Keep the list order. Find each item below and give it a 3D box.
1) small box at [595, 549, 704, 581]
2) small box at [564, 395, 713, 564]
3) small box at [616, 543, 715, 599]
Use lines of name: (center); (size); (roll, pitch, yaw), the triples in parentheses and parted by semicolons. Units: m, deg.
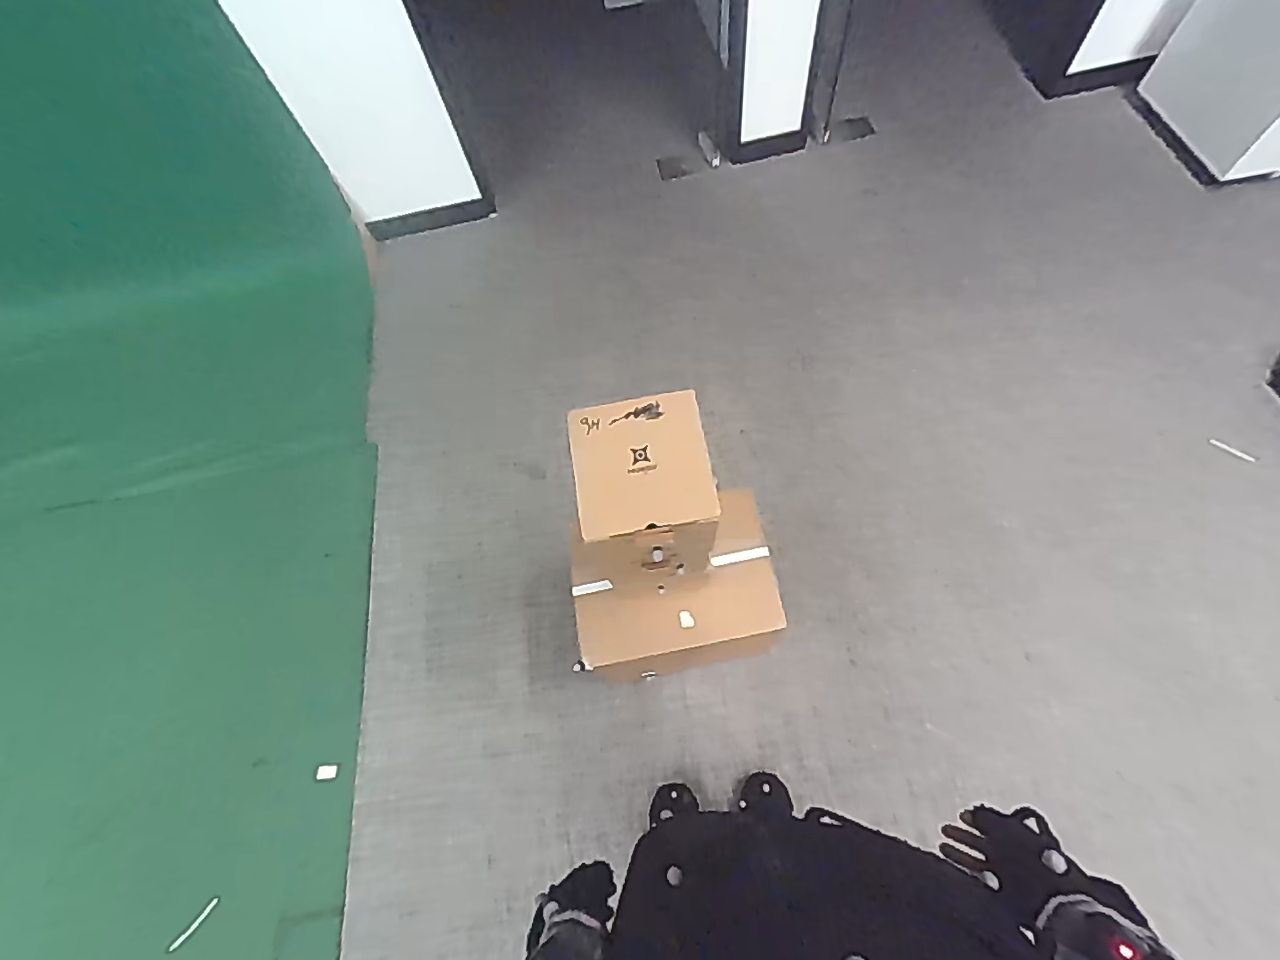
small box: (0.012, 0.064, 0.890); (0.168, 0.176, 0.179); (-10, 69, 1)
small box: (0.003, 0.011, 0.736); (0.168, 0.176, 0.179); (-10, 70, 1)
small box: (0.036, 0.124, 1.039); (0.179, 0.176, 0.168); (-12, 70, 1)
